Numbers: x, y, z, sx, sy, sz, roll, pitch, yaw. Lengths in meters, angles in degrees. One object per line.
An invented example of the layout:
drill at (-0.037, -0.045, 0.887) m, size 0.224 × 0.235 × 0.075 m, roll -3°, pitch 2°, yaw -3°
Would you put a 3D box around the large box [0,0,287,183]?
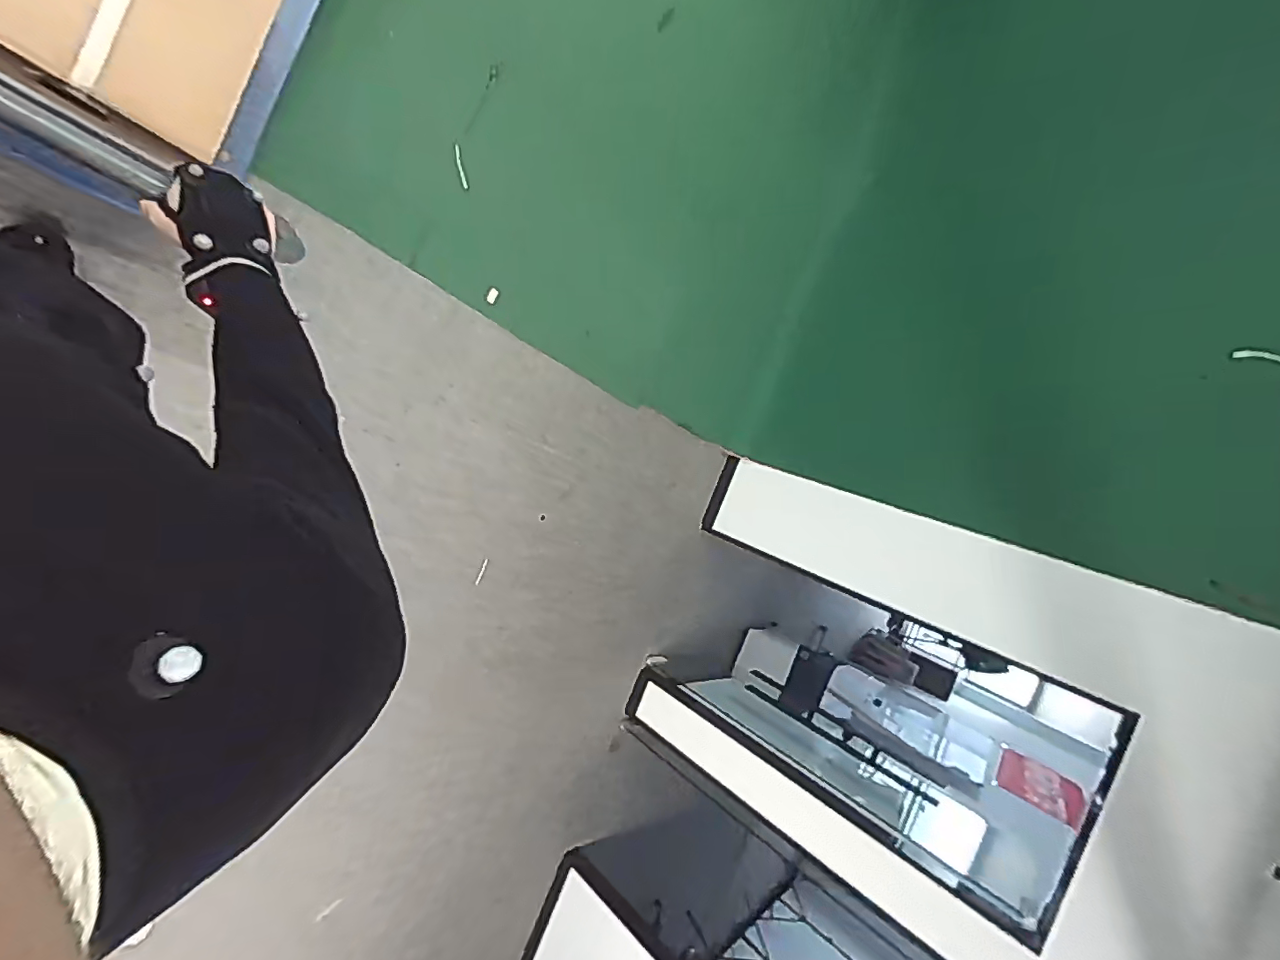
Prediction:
large box at (-0.798, -0.747, 0.834) m, size 0.320 × 0.320 × 0.408 m, roll 23°, pitch 88°, yaw -53°
